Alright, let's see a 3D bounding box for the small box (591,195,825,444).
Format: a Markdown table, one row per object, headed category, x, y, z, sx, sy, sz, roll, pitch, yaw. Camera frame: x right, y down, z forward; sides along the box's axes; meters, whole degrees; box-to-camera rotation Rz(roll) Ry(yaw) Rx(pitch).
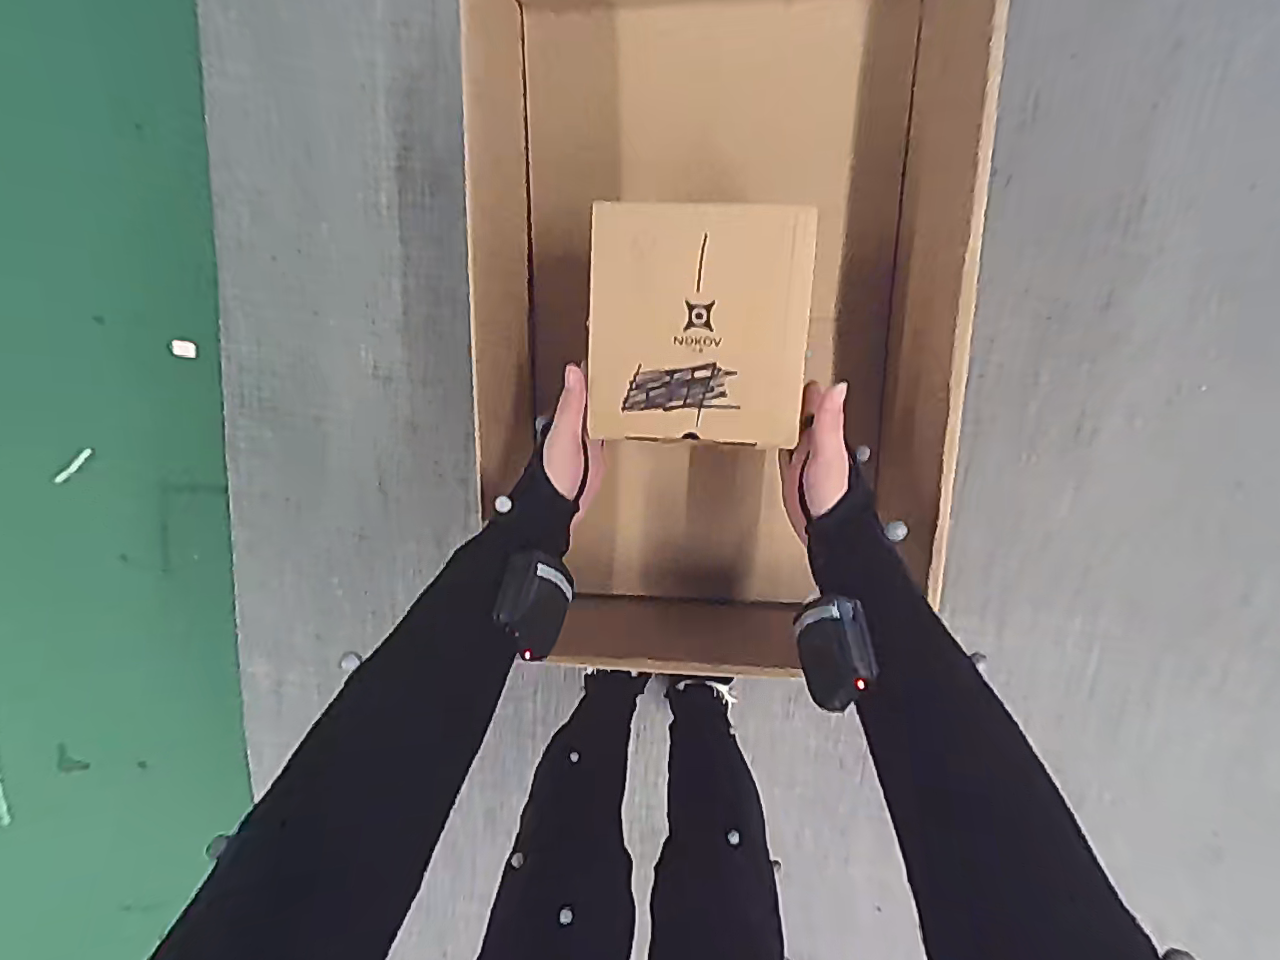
| category | x | y | z | sx | sy | sz | roll | pitch | yaw |
| --- | --- | --- | --- | --- | --- | --- | --- | --- | --- |
| small box | 0.054 | -0.132 | 0.479 | 0.168 | 0.176 | 0.179 | 3 | 101 | 5 |
